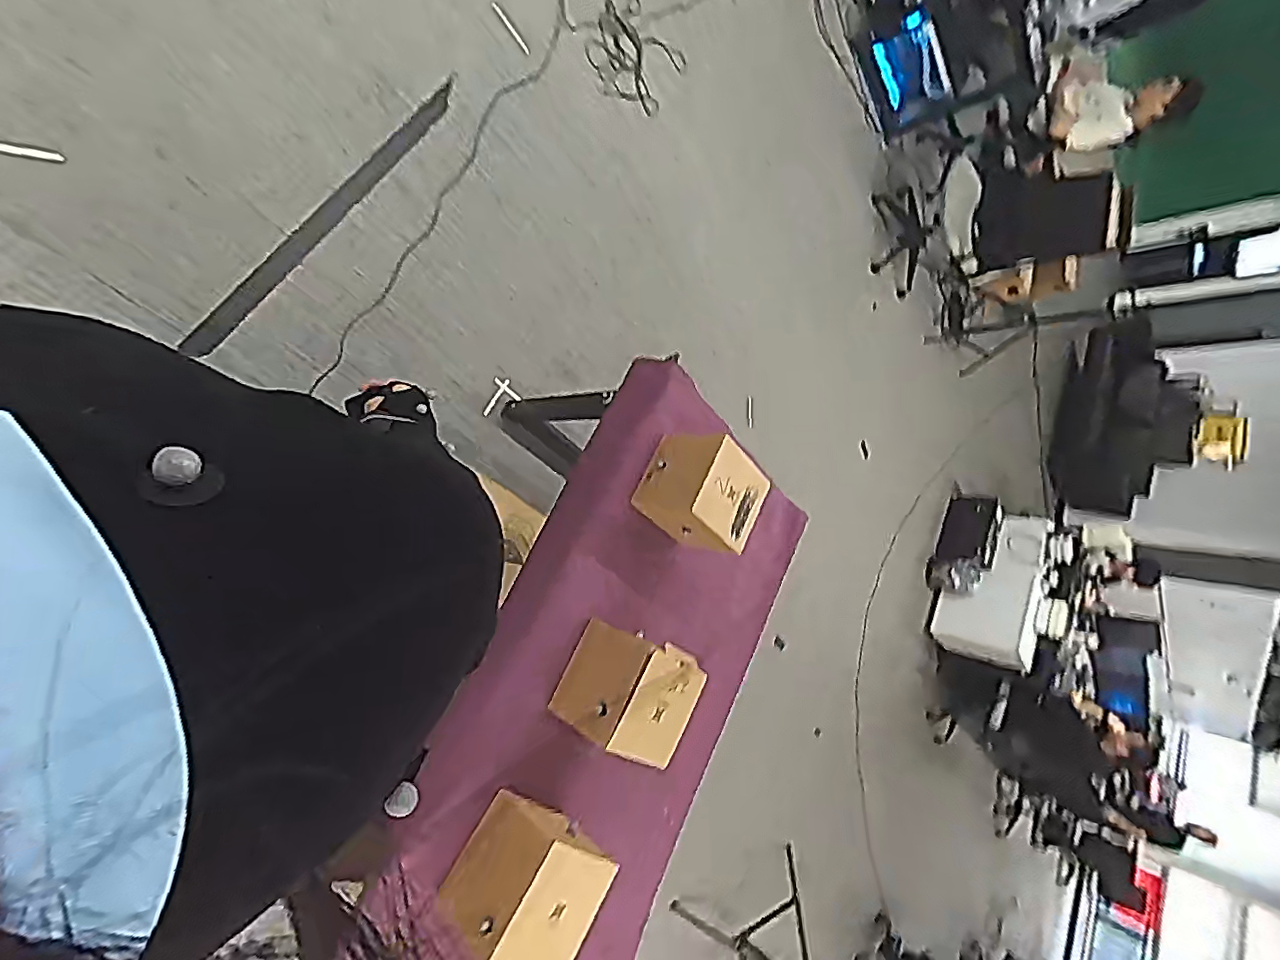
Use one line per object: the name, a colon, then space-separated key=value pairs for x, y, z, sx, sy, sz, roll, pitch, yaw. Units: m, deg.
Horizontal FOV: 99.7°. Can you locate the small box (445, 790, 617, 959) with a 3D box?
small box: x=-0.176 y=0.633 z=0.860 sx=0.168 sy=0.176 sz=0.179 roll=48 pitch=63 yaw=-34

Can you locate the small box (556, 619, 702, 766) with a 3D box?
small box: x=-0.025 y=0.375 z=0.971 sx=0.168 sy=0.176 sz=0.179 roll=42 pitch=67 yaw=-39
